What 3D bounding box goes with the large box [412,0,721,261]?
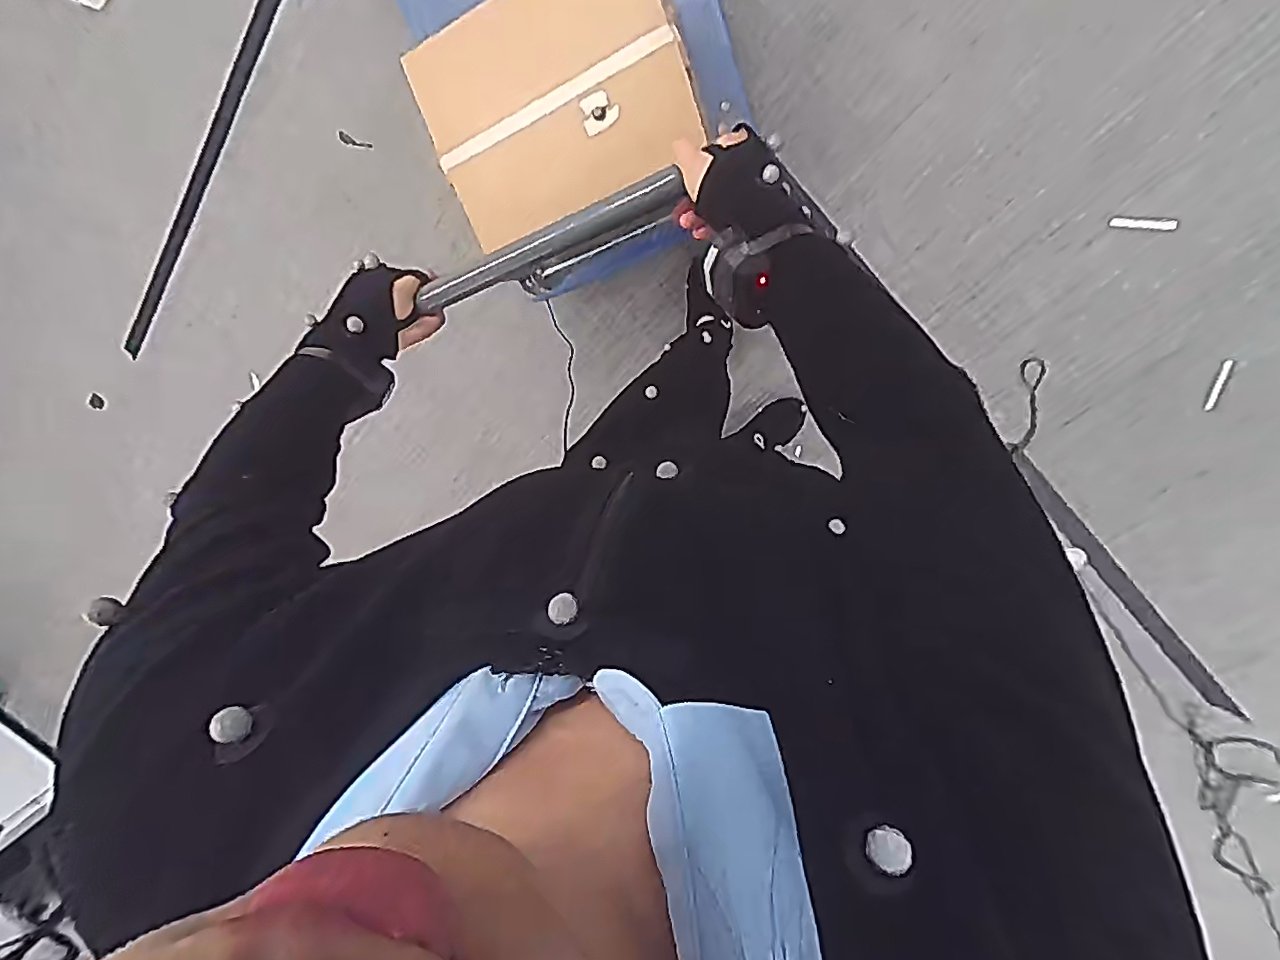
[{"bbox_3d":[-0.100,-0.623,0.963,0.408,0.320,0.320,-17,107,18],"label":"large box"}]
